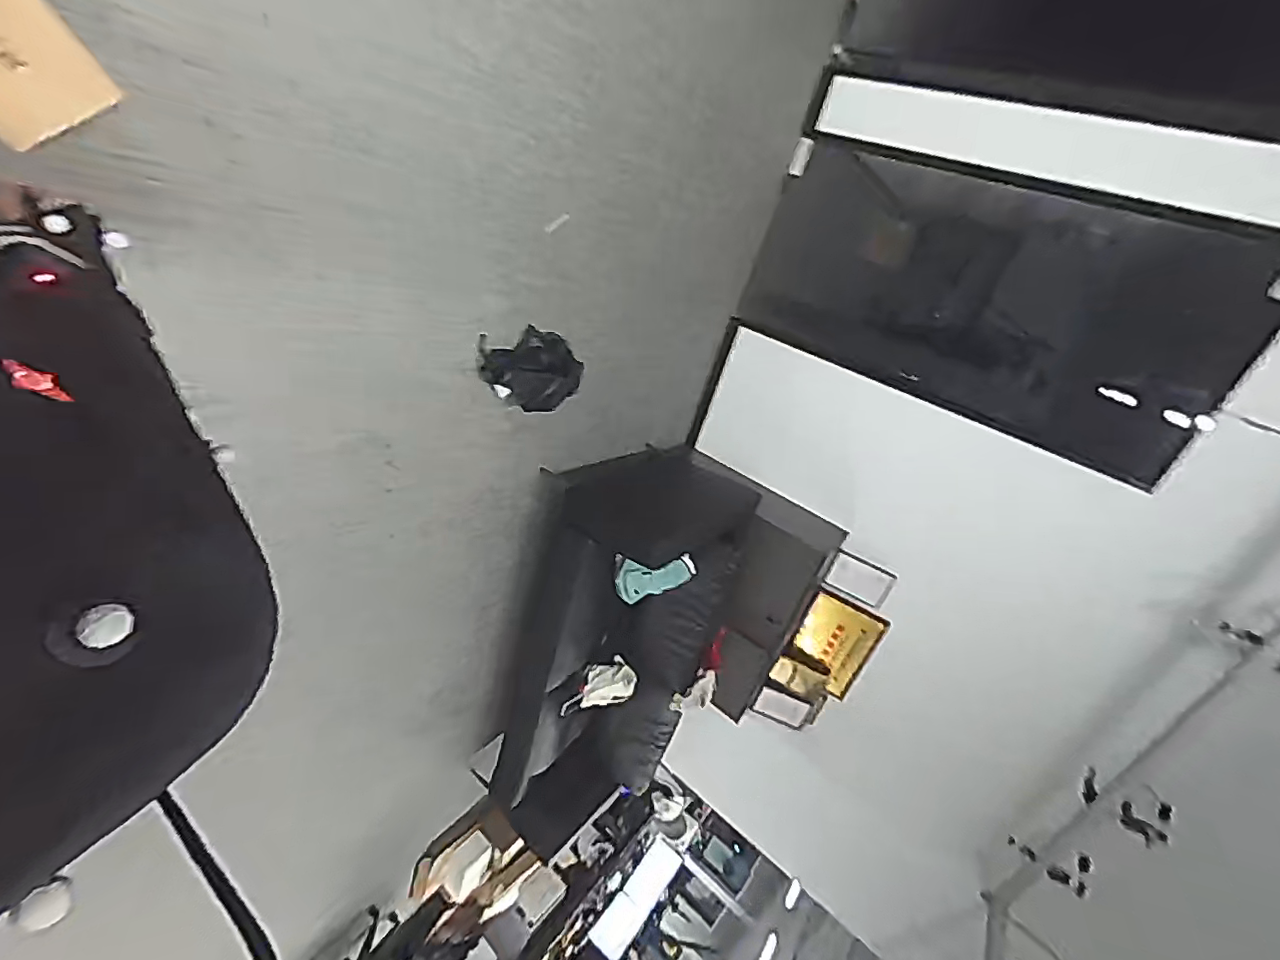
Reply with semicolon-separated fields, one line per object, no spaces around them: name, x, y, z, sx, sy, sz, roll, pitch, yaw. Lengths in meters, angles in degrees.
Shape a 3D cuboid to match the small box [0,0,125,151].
small box;-0.894;-0.601;0.748;0.168;0.176;0.179;-48;153;-19
